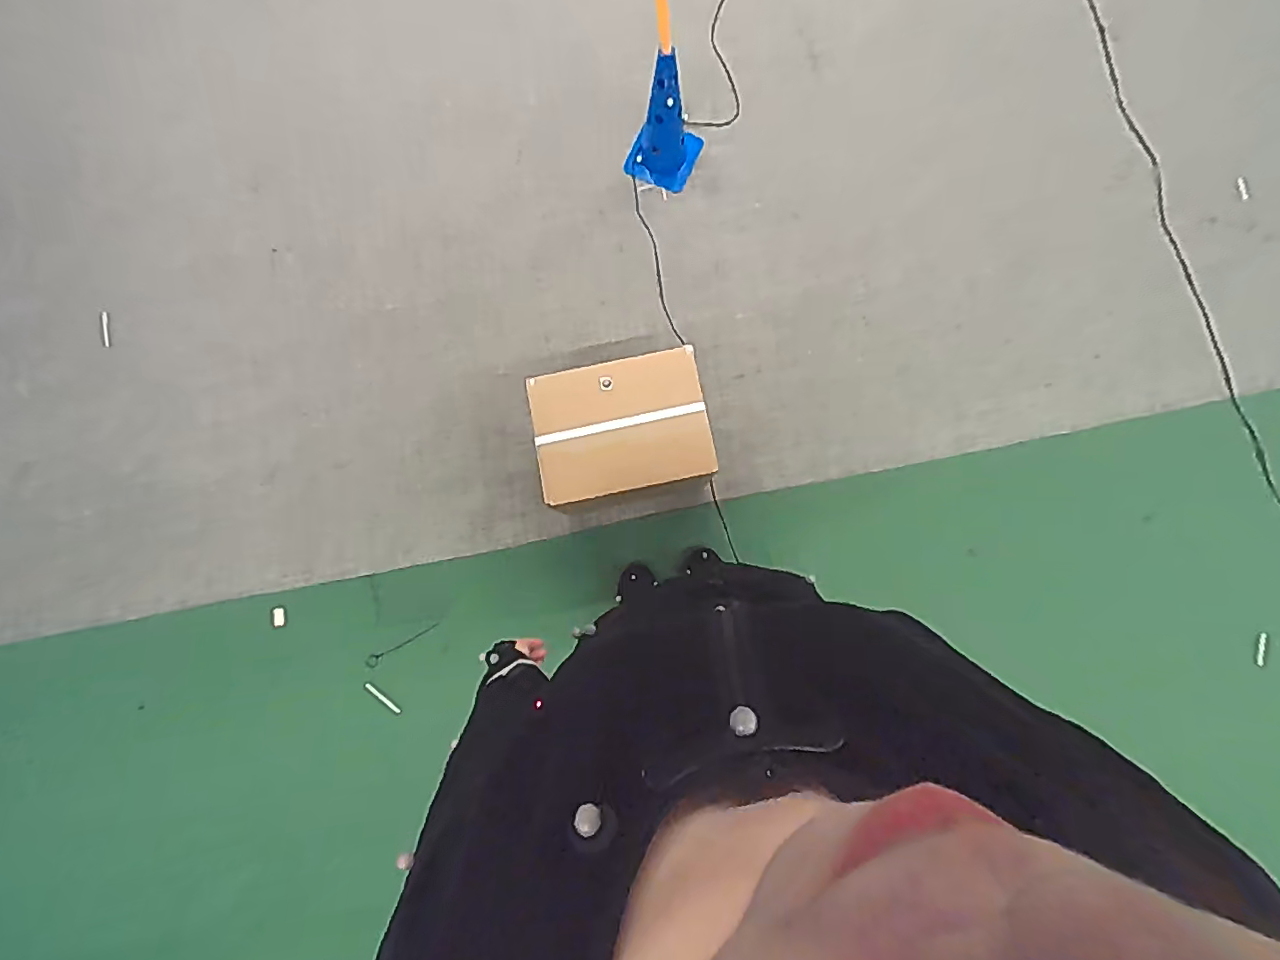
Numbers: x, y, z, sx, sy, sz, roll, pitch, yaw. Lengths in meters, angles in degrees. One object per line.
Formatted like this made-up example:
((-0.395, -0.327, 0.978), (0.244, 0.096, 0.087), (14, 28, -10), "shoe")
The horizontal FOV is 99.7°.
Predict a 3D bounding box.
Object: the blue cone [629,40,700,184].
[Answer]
((0.070, -1.020, 1.483), (0.192, 0.380, 0.193), (21, 85, 4), "blue cone")
